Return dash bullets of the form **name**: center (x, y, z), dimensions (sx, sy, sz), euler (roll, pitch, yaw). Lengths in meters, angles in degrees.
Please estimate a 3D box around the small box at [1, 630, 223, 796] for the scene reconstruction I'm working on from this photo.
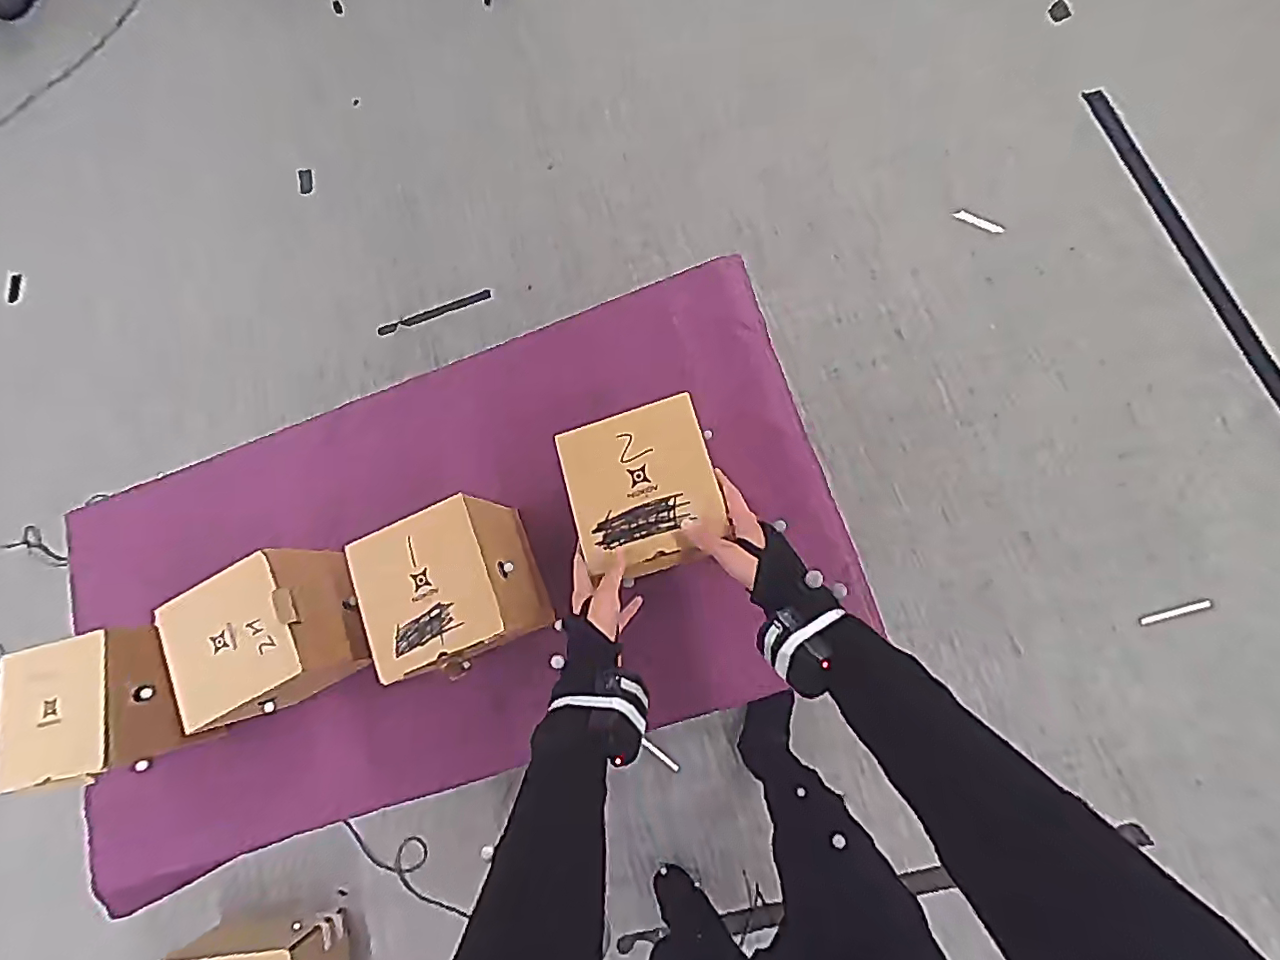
- **small box**: center (-0.731, 0.313, 0.768), dimensions (0.168, 0.176, 0.179), euler (-15, 77, 6)

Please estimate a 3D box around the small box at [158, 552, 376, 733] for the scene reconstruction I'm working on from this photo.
- **small box**: center (-0.491, 0.214, 0.742), dimensions (0.179, 0.176, 0.168), euler (-28, 76, 4)

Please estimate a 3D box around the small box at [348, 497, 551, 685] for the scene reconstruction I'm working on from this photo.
- **small box**: center (-0.238, 0.142, 0.710), dimensions (0.168, 0.176, 0.179), euler (-24, 75, 5)
